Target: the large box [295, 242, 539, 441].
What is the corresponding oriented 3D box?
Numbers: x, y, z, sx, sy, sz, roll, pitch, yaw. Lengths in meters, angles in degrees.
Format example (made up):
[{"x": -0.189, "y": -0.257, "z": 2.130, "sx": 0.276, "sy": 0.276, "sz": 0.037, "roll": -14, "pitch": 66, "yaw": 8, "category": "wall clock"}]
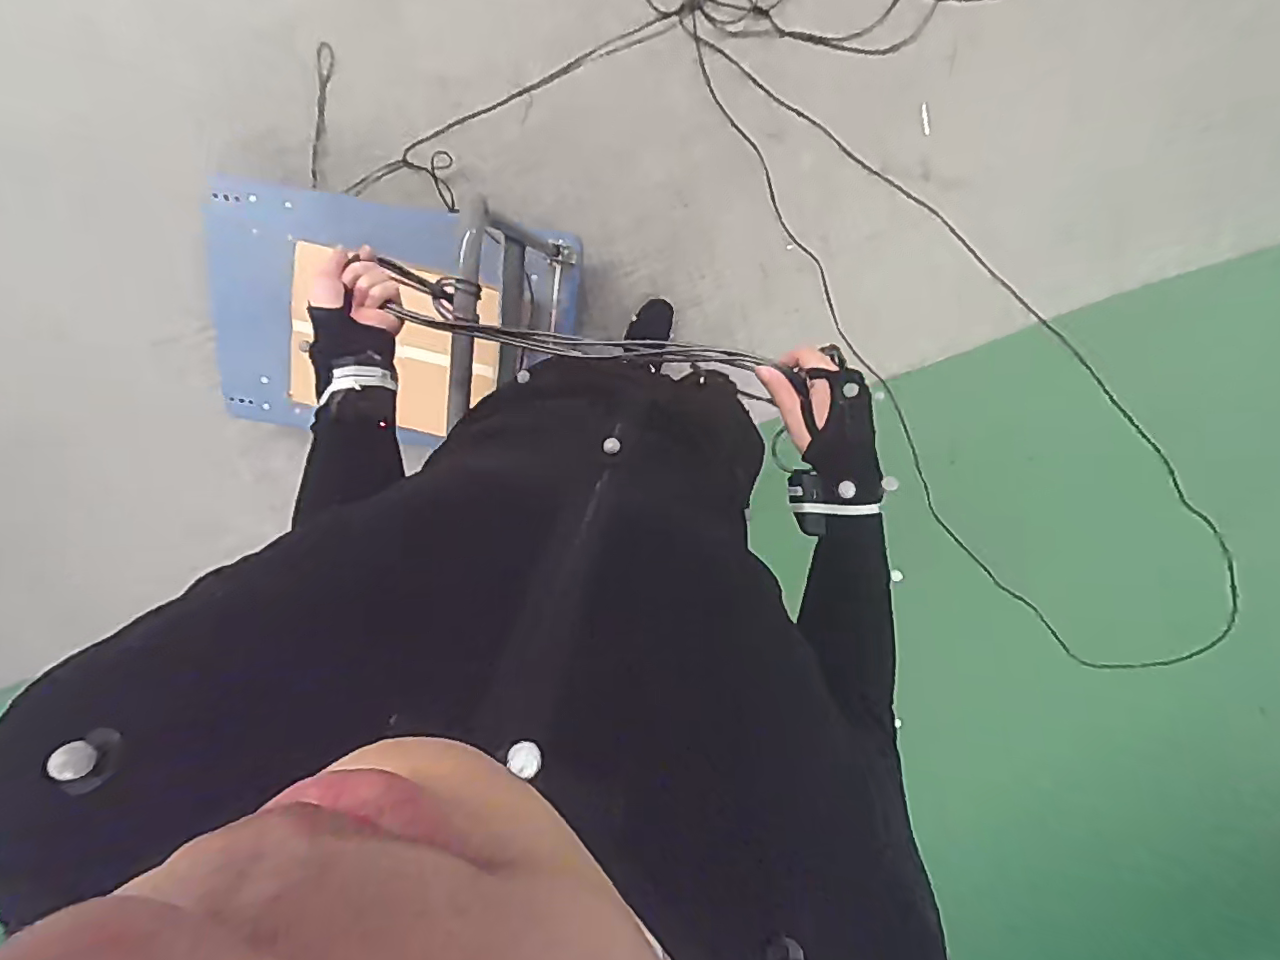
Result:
[{"x": -0.467, "y": -0.308, "z": 1.197, "sx": 0.408, "sy": 0.320, "sz": 0.320, "roll": 13, "pitch": 108, "yaw": -4, "category": "large box"}]
